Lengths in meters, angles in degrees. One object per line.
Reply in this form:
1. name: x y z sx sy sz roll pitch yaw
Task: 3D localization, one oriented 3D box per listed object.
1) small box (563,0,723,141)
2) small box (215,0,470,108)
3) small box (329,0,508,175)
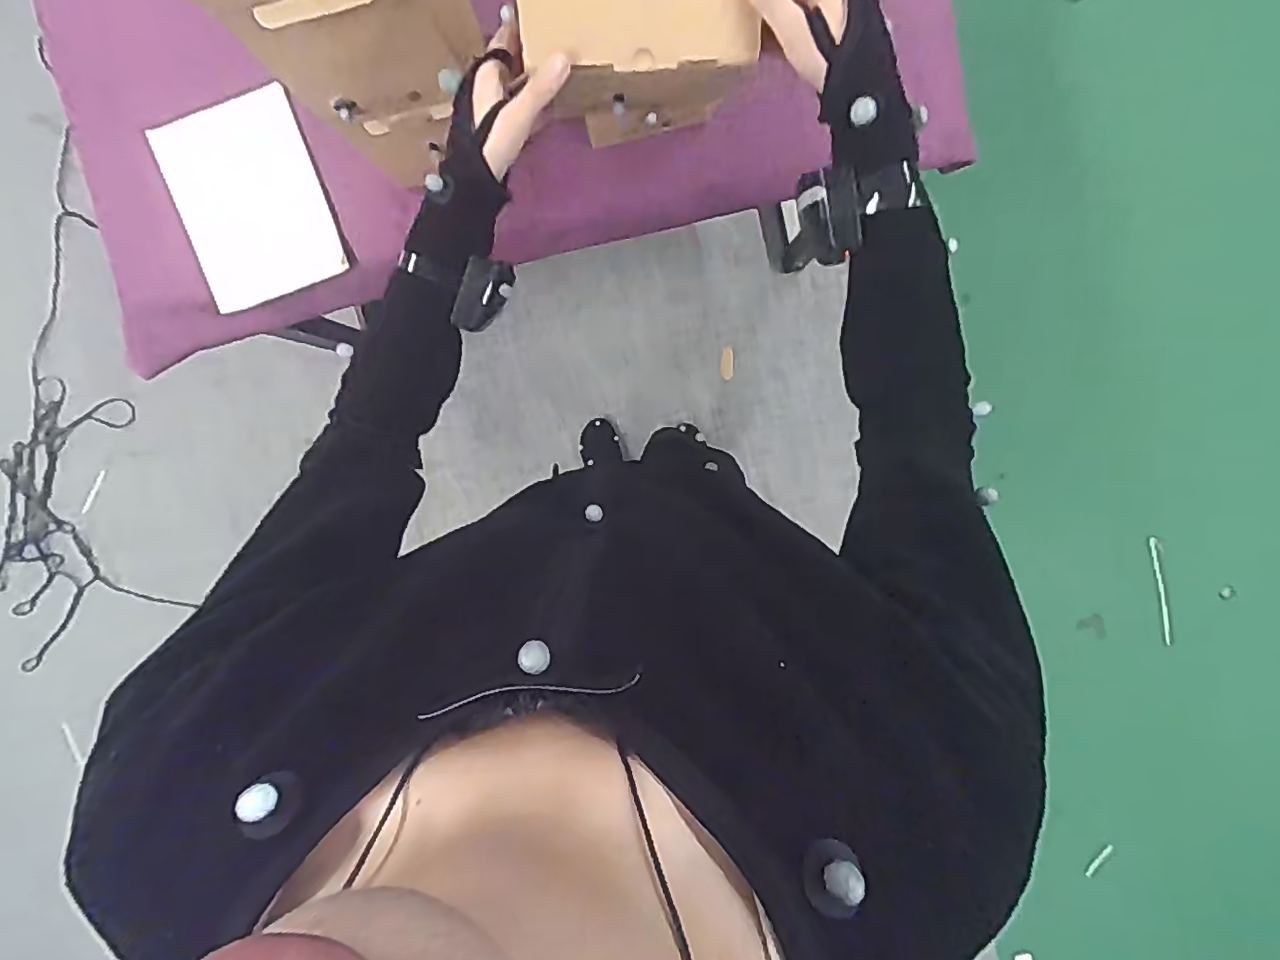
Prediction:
1. small box: -0.005 -0.558 0.655 0.168 0.176 0.179 -12 94 3
2. small box: -0.275 -0.484 0.501 0.168 0.176 0.179 -12 94 2
3. small box: -0.274 -0.505 0.665 0.168 0.176 0.179 -12 95 2
